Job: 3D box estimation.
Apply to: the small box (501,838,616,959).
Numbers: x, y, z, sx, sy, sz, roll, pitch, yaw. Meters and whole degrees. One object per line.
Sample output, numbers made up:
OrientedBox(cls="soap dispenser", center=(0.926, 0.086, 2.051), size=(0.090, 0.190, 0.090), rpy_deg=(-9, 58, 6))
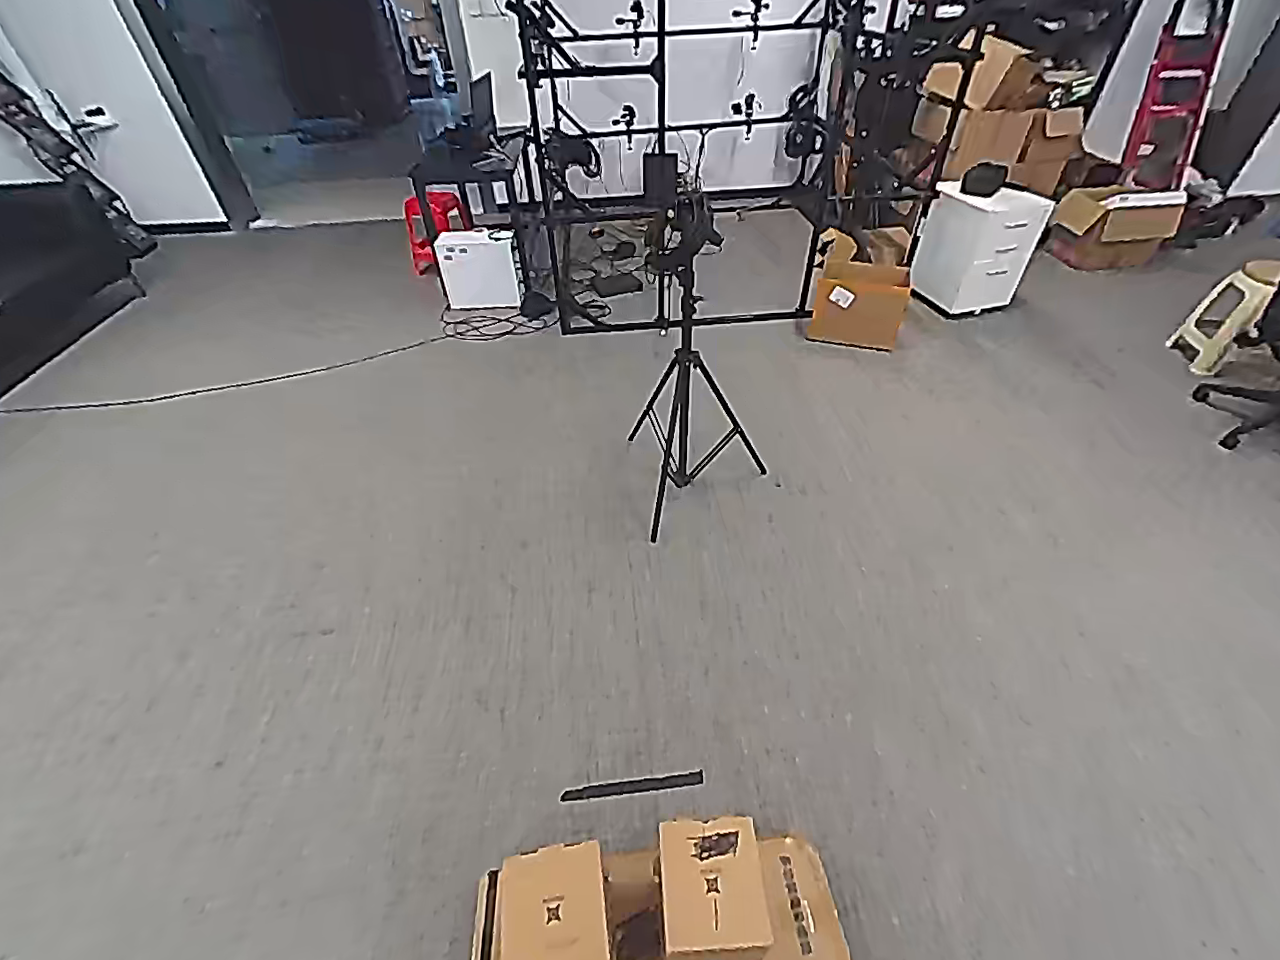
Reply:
OrientedBox(cls="small box", center=(-0.134, 0.741, 0.909), size=(0.168, 0.176, 0.179), rpy_deg=(-9, 43, -6))

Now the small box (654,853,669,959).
OrientedBox(cls="small box", center=(0.115, 0.835, 1.040), size=(0.168, 0.176, 0.179), rpy_deg=(-6, 42, -3))

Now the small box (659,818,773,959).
OrientedBox(cls="small box", center=(0.119, 0.710, 0.932), size=(0.168, 0.176, 0.179), rpy_deg=(-3, 42, -1))
